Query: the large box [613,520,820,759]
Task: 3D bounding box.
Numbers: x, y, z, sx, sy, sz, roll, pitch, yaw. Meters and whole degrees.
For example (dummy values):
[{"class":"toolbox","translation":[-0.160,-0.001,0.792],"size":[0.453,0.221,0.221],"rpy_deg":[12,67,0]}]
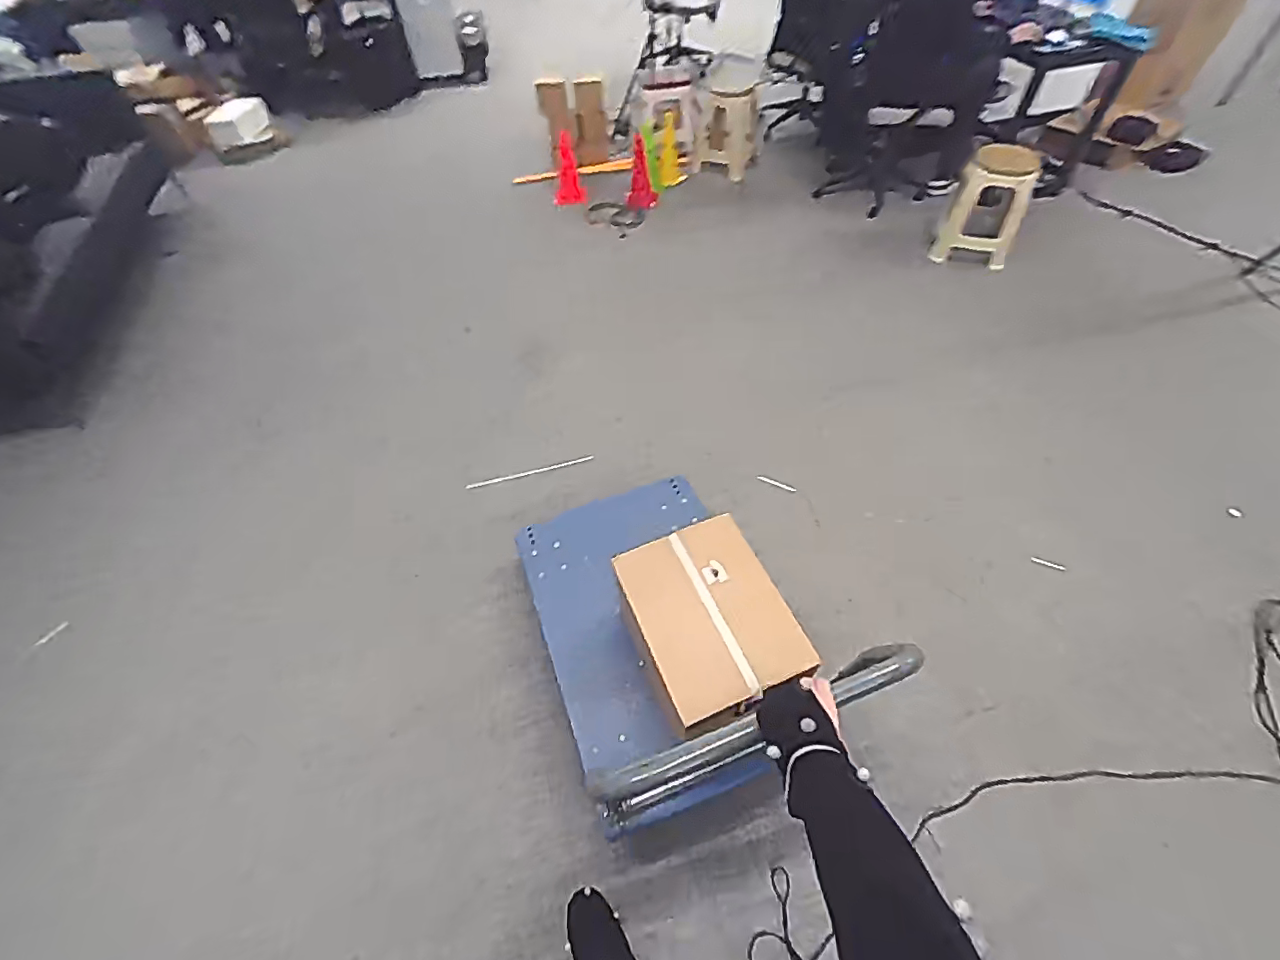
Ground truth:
[{"class":"large box","translation":[0.162,0.379,1.300],"size":[0.320,0.320,0.408],"rpy_deg":[-19,53,-12]}]
